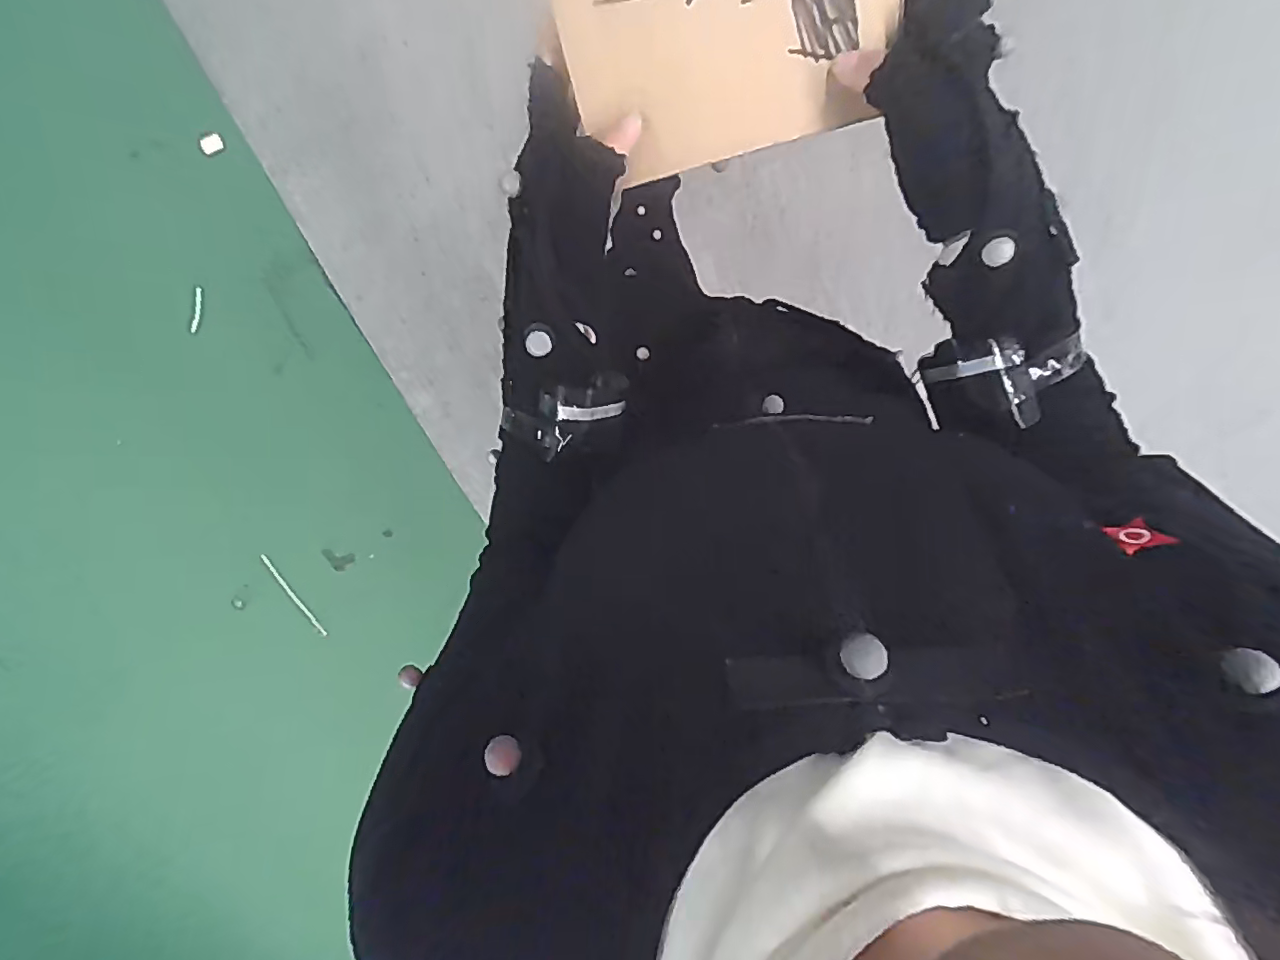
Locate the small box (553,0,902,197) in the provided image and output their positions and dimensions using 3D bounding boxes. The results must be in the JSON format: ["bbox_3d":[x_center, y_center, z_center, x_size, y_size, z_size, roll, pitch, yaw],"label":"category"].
[{"bbox_3d":[0.040,-0.304,0.336,0.179,0.176,0.168,-14,125,10],"label":"small box"}]
